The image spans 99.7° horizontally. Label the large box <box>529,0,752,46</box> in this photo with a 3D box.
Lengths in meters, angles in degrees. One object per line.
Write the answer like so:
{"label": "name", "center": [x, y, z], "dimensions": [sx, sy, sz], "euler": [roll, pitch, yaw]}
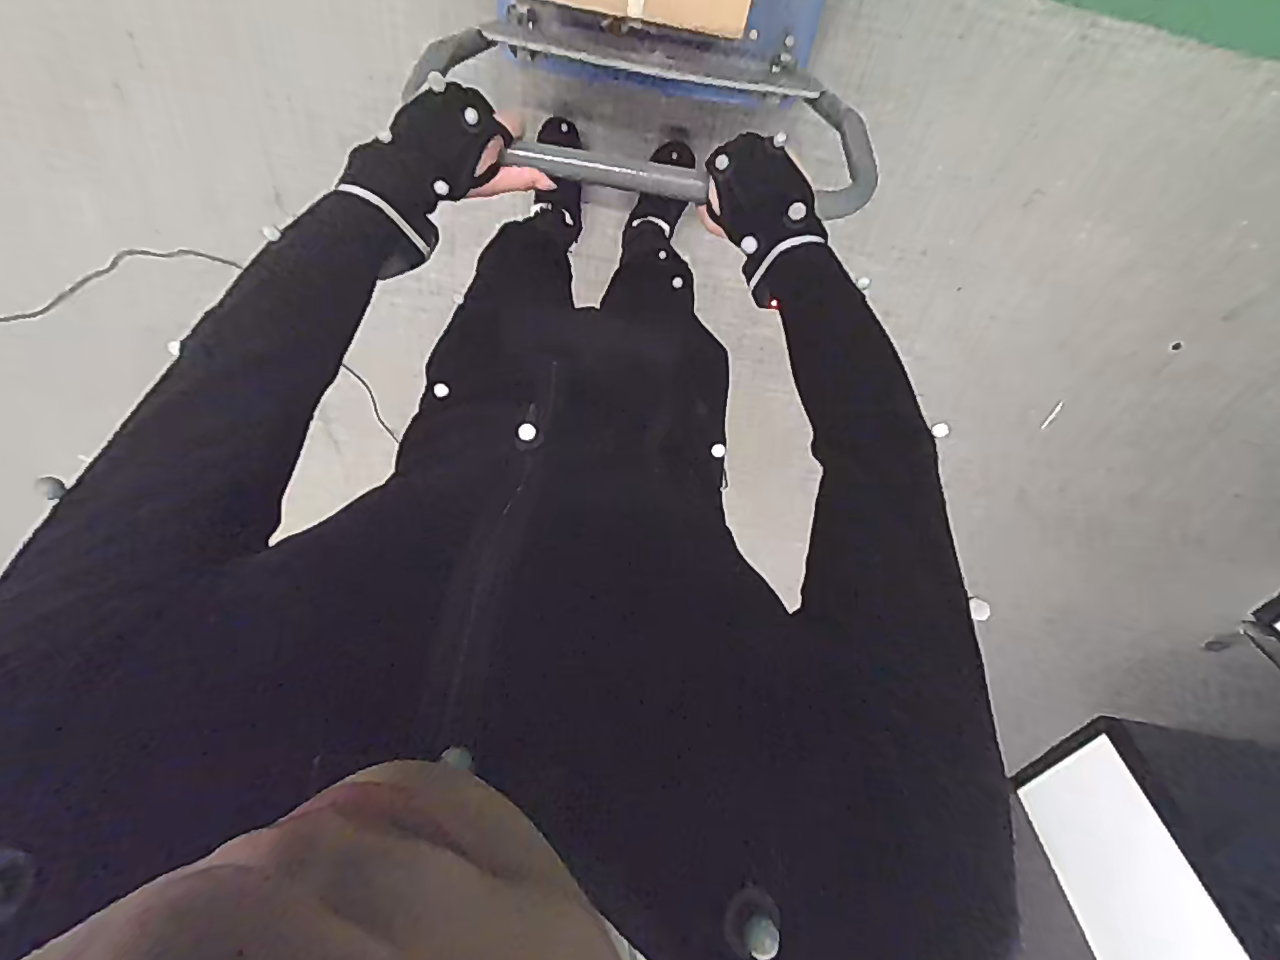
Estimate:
{"label": "large box", "center": [0.025, -0.880, 0.751], "dimensions": [0.320, 0.320, 0.408], "euler": [7, 128, -5]}
